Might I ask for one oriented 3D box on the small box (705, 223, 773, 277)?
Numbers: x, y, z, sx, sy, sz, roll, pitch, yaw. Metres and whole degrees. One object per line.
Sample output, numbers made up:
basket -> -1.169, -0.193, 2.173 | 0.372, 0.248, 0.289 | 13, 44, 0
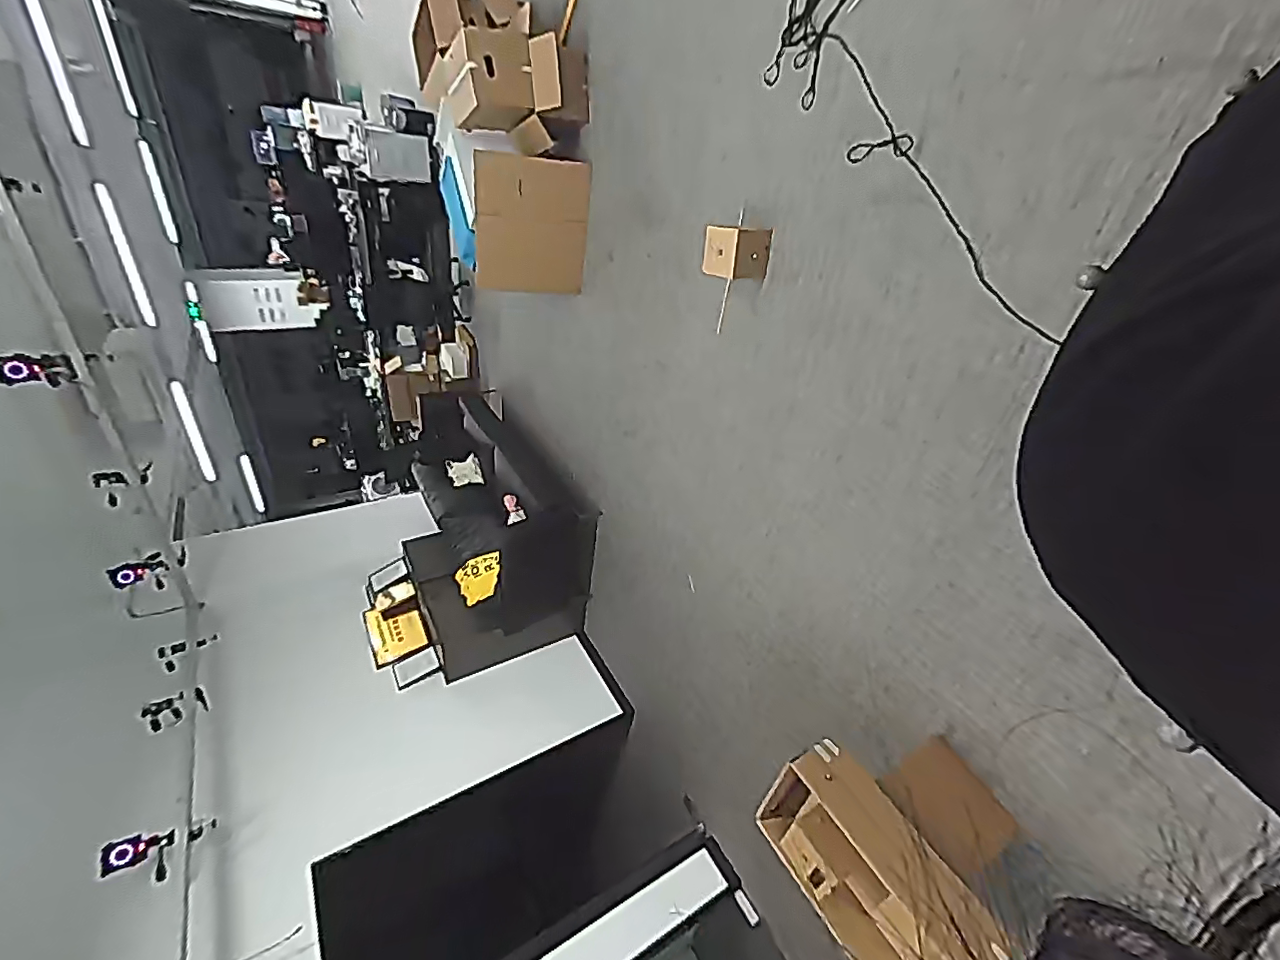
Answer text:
small box -> 0.368, -0.854, 1.999 | 0.179, 0.176, 0.168 | 40, 135, 47
